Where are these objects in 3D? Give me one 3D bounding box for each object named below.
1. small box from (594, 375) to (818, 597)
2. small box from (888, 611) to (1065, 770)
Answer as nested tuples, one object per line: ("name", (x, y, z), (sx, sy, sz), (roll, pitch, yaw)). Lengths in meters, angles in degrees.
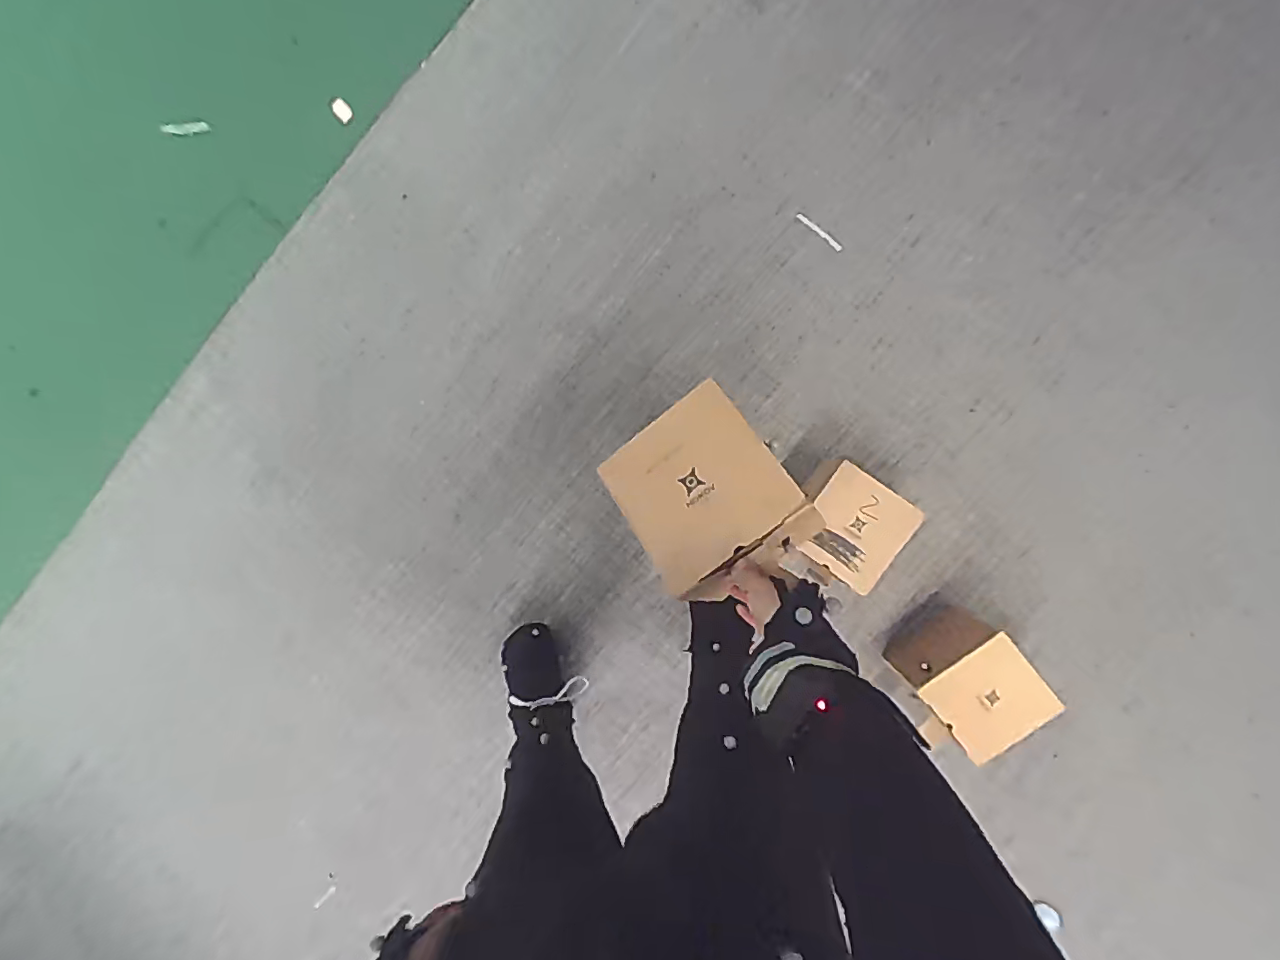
("small box", (0.084, 0.017, 0.623), (0.168, 0.176, 0.179), (-39, 66, 10))
("small box", (0.586, 0.363, 0.970), (0.179, 0.176, 0.168), (-38, 88, 6))
